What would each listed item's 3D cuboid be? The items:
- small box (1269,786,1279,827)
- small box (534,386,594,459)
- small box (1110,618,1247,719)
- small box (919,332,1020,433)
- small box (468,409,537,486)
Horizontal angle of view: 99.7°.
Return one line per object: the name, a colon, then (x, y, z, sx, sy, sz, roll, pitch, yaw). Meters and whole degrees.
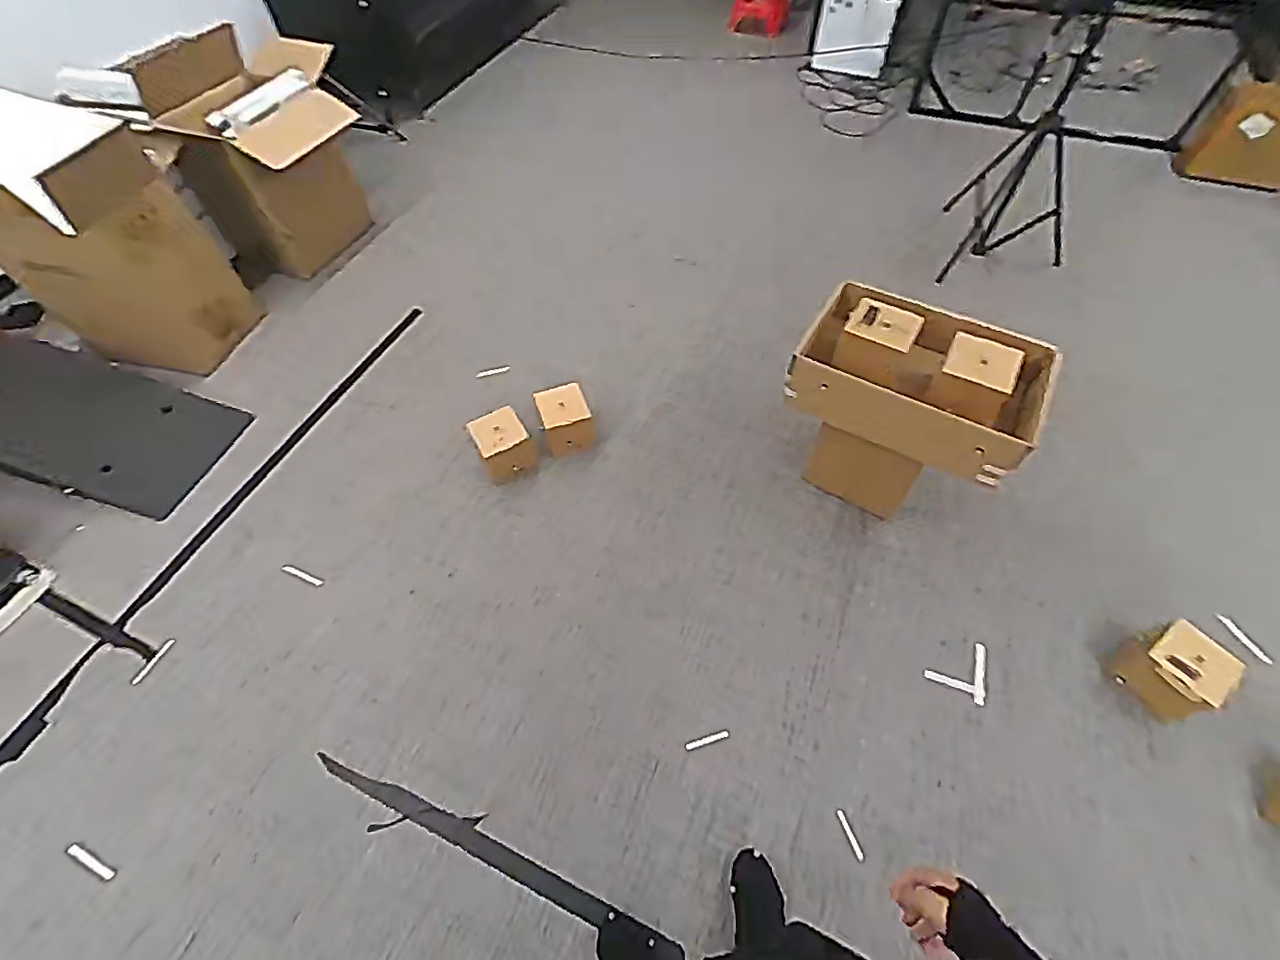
small box: (1.637, 0.772, 1.247, 0.179, 0.176, 0.168, -38, 62, -22)
small box: (-0.275, -0.207, 1.974, 0.168, 0.176, 0.179, -19, 59, -11)
small box: (1.413, 0.505, 1.435, 0.179, 0.176, 0.168, -32, 61, -18)
small box: (0.882, -0.261, 1.461, 0.168, 0.176, 0.179, 26, 58, 19)
small box: (-0.484, -0.112, 1.913, 0.168, 0.176, 0.179, -28, 60, -15)
